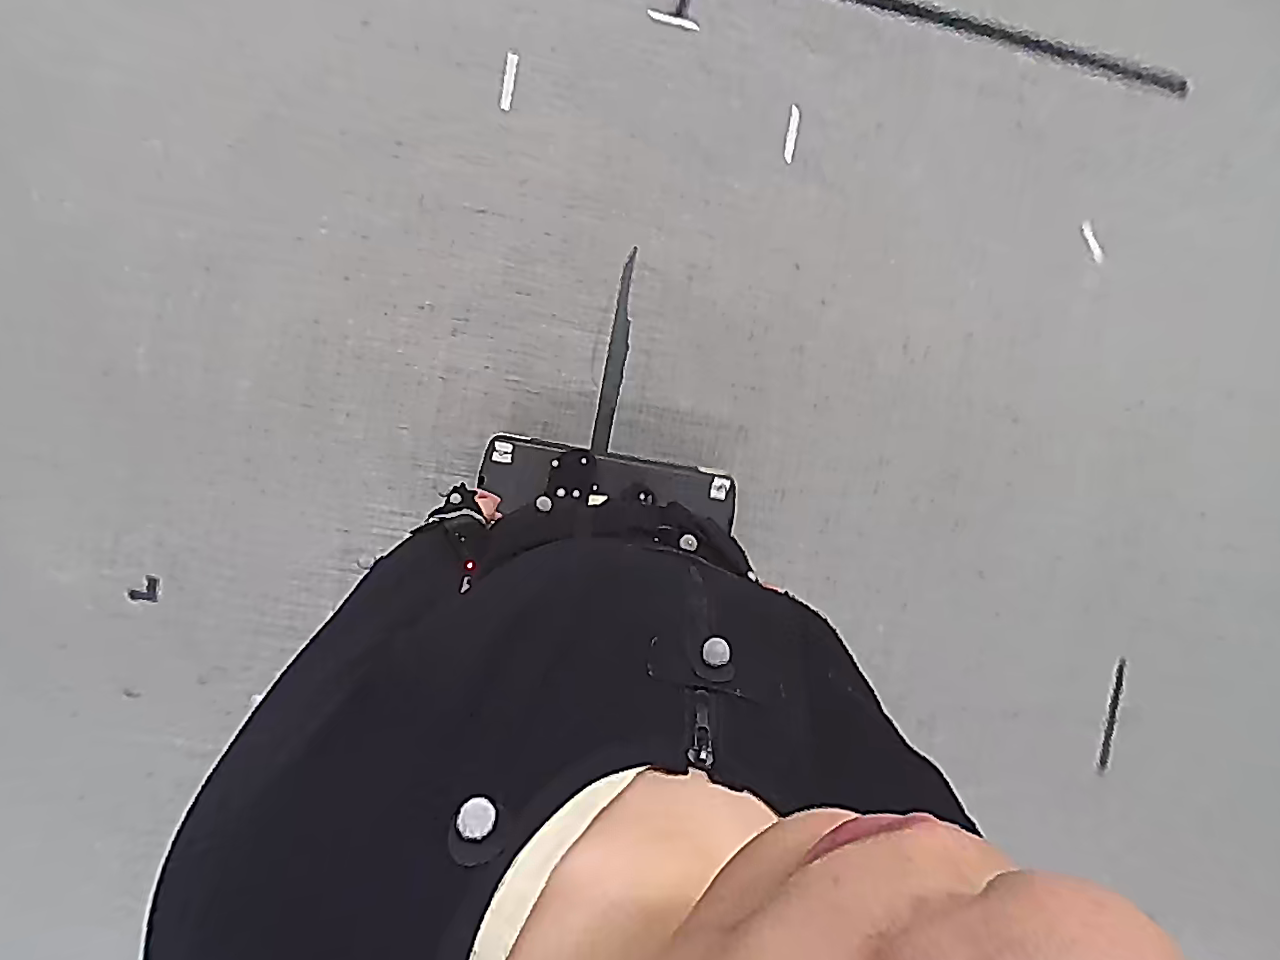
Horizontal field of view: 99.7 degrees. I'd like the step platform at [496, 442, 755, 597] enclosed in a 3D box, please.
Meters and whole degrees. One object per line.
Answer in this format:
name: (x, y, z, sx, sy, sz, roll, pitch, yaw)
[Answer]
step platform: (-0.038, 0.106, 1.475, 0.684, 0.204, 0.286, 14, 91, -7)
